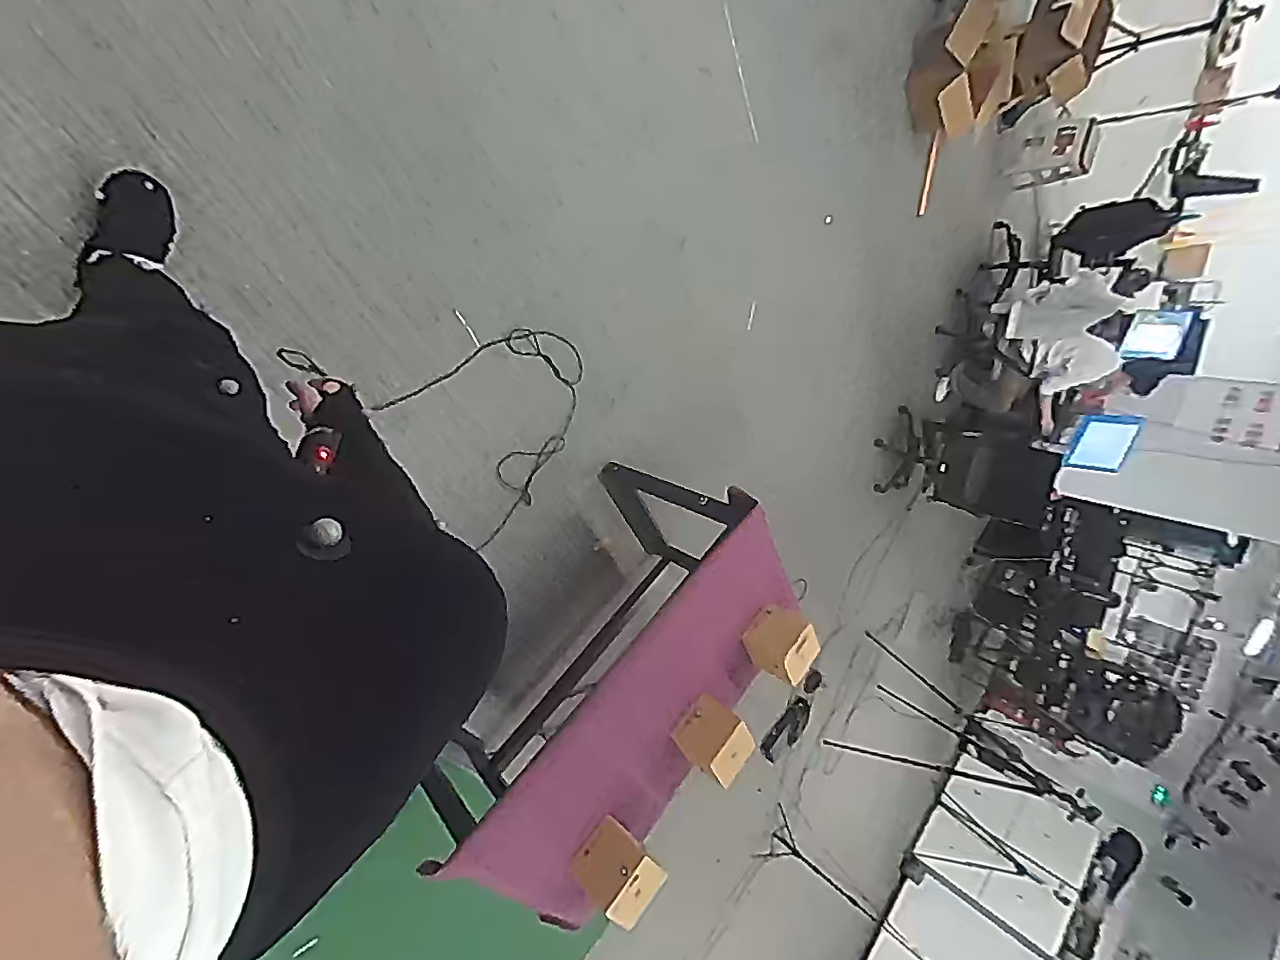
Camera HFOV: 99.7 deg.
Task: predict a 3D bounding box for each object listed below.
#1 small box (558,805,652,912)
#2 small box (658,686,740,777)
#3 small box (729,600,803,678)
[{"bbox_3d":[-0.100,1.072,1.541,0.168,0.176,0.179,-46,132,-23],"label":"small box"},{"bbox_3d":[0.186,0.791,1.714,0.168,0.176,0.179,-44,131,-24],"label":"small box"},{"bbox_3d":[0.429,0.533,1.846,0.168,0.176,0.179,-45,131,-22],"label":"small box"}]
